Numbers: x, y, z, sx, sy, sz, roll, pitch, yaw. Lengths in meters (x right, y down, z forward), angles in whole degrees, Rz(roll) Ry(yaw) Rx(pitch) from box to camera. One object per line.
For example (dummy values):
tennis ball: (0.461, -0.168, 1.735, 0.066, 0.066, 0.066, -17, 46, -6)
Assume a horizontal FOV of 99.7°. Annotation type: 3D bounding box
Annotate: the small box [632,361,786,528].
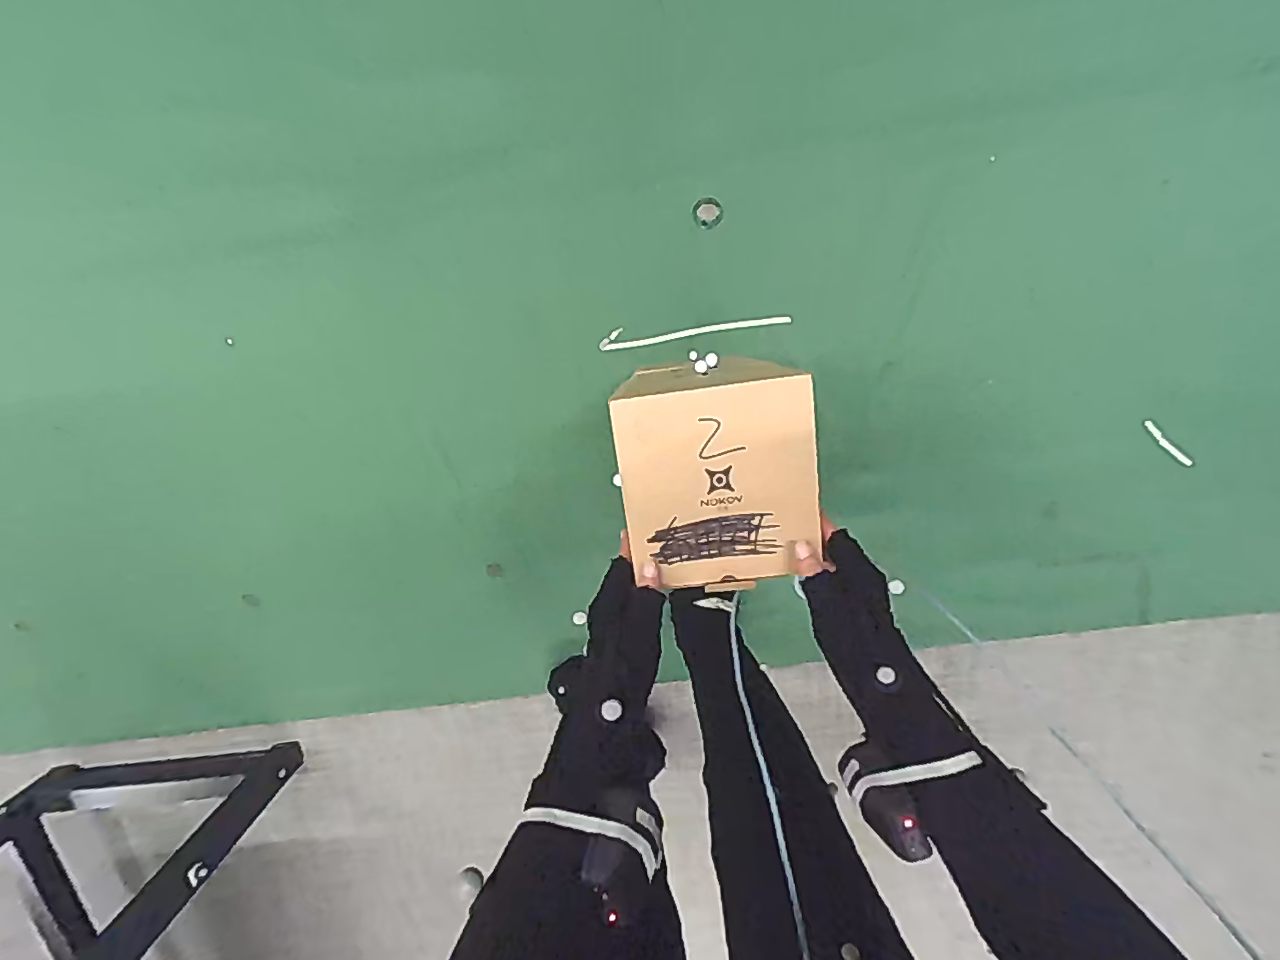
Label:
small box: (0.082, -0.055, 0.692, 0.168, 0.176, 0.179, -7, 105, 4)
